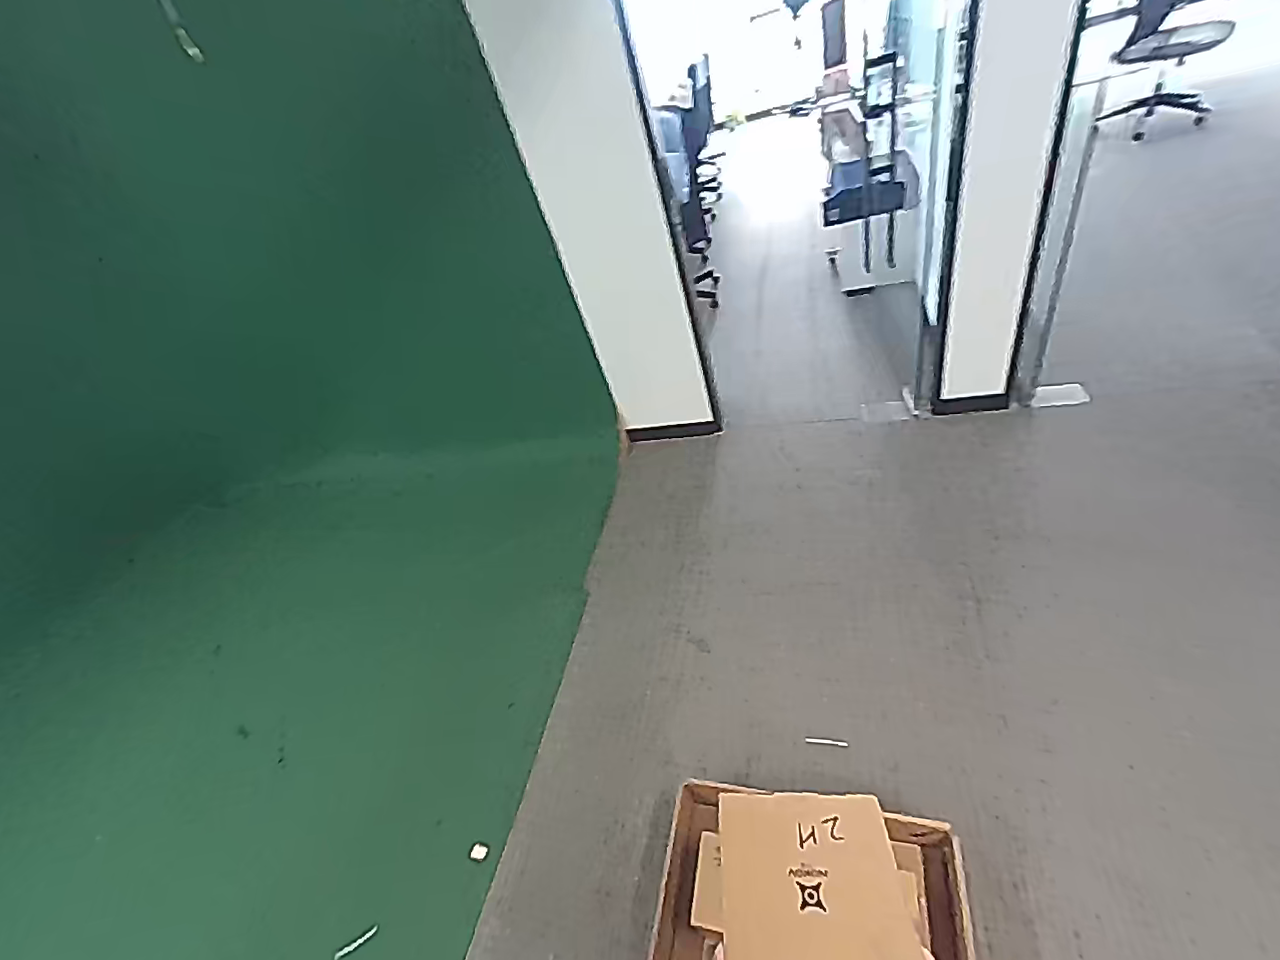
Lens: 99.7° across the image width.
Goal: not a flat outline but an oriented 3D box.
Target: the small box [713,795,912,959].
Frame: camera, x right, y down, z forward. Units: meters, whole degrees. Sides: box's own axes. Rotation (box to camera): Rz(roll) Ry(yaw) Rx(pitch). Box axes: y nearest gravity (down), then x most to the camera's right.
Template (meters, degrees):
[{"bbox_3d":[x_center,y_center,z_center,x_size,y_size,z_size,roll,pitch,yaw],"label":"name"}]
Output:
[{"bbox_3d":[0.161,0.449,0.538,0.168,0.176,0.179,-4,29,8],"label":"small box"}]

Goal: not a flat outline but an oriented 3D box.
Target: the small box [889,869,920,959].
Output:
[{"bbox_3d":[0.485,0.920,1.119,0.168,0.176,0.179,-1,43,23],"label":"small box"}]
